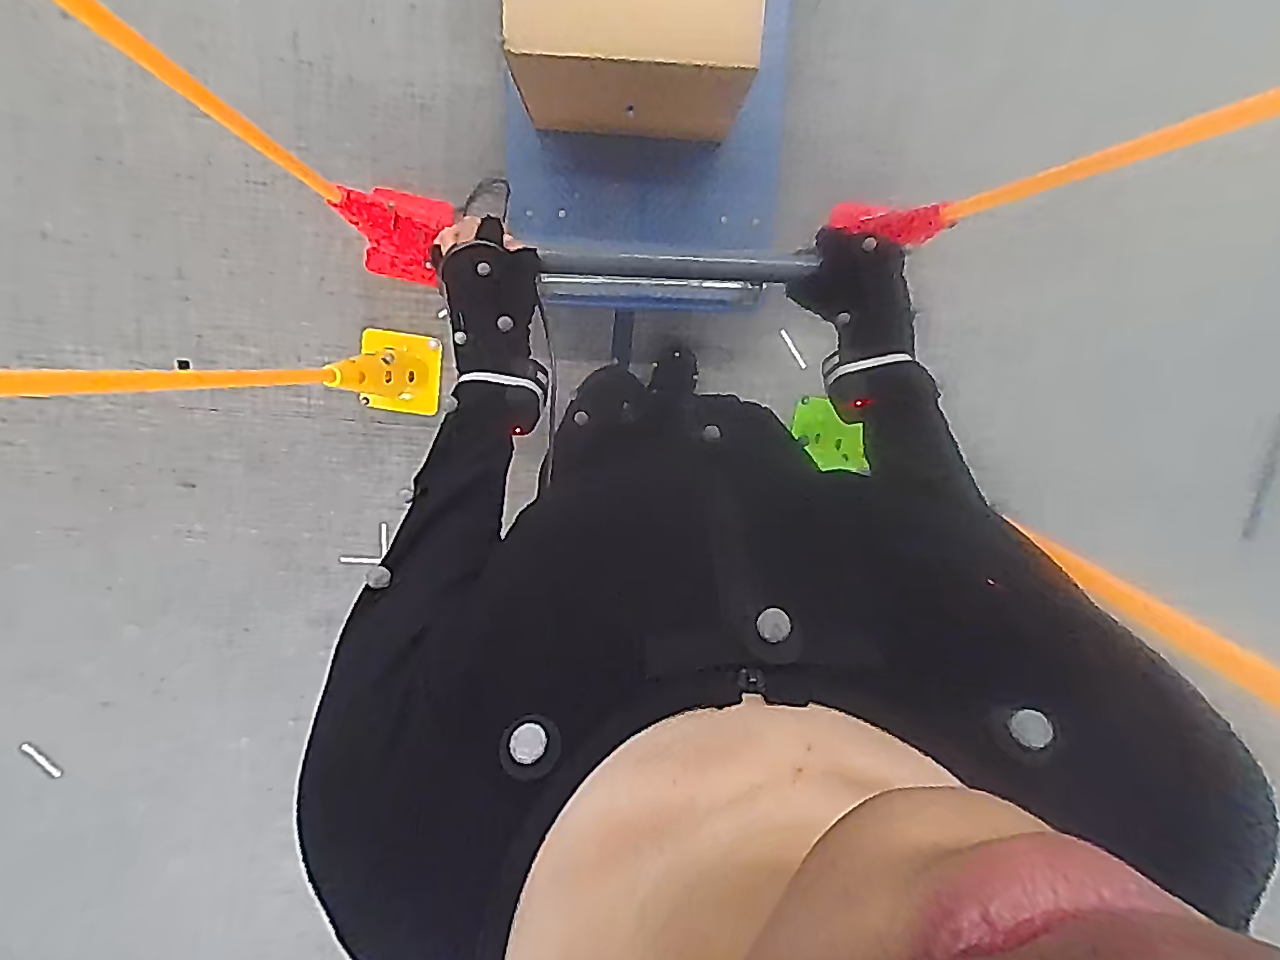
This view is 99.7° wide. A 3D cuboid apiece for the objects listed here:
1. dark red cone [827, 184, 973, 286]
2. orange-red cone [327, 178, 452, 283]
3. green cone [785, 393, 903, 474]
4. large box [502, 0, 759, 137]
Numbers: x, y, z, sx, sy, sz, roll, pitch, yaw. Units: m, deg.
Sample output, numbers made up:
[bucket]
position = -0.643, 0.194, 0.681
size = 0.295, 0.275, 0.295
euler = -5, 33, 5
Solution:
[dark red cone]
position = 0.574, -0.554, 1.169
size = 0.201, 0.394, 0.202
euler = 4, 103, -5
[orange-red cone]
position = -0.560, -0.566, 1.151
size = 0.198, 0.360, 0.199
euler = 12, 100, -5
[green cone]
position = 0.508, -0.087, 1.287
size = 0.202, 0.368, 0.200
euler = 8, 102, -5
[large box]
position = -0.012, -0.839, 0.960
size = 0.408, 0.320, 0.320
euler = 2, 103, -2
